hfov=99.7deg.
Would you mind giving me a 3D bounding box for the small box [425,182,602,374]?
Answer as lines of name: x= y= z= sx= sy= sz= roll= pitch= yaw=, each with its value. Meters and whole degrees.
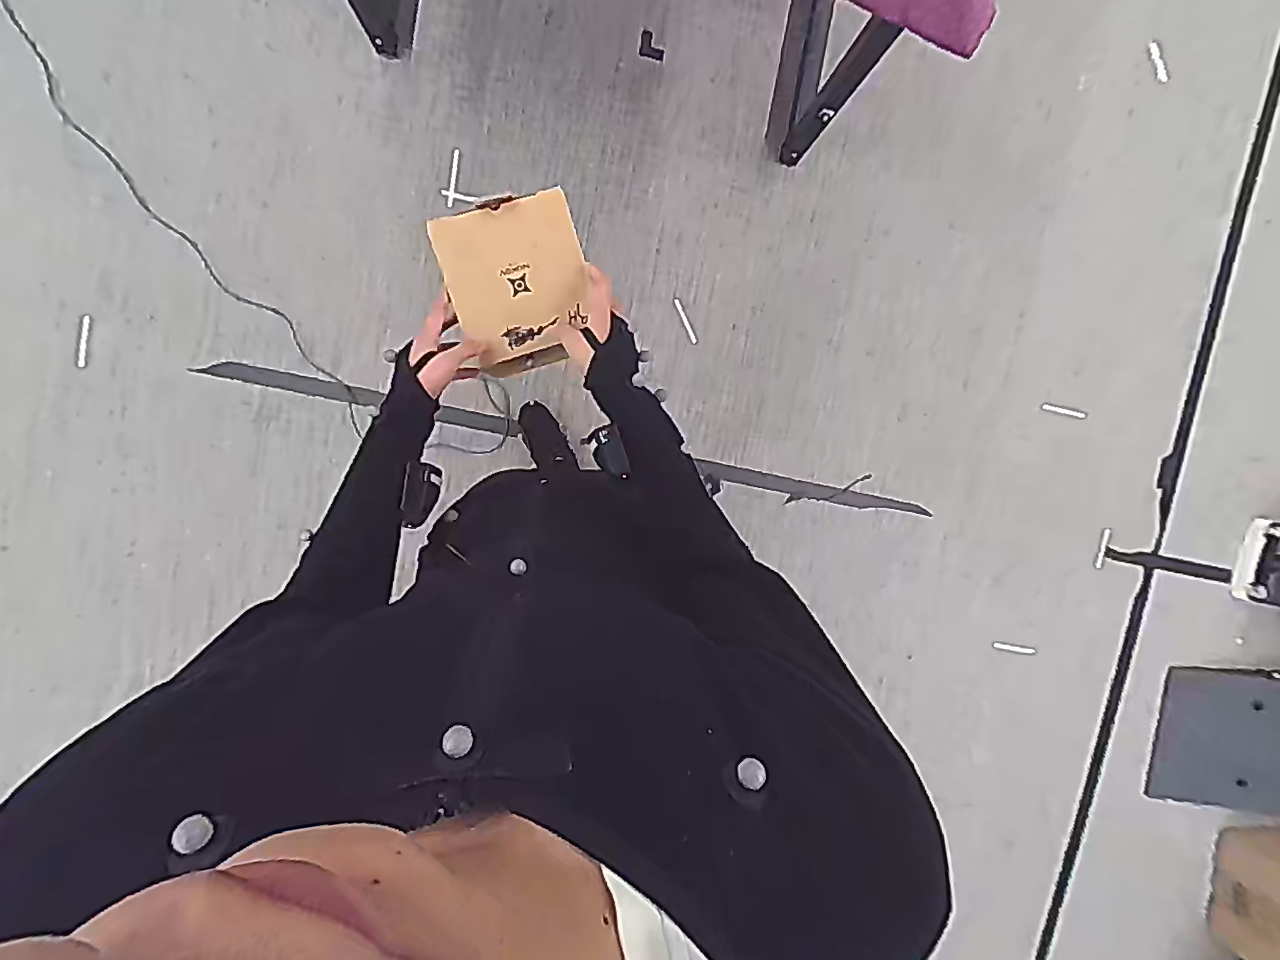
small box: x=-0.155 y=-0.249 z=0.707 sx=0.168 sy=0.176 sz=0.179 roll=-17 pitch=98 yaw=-4
